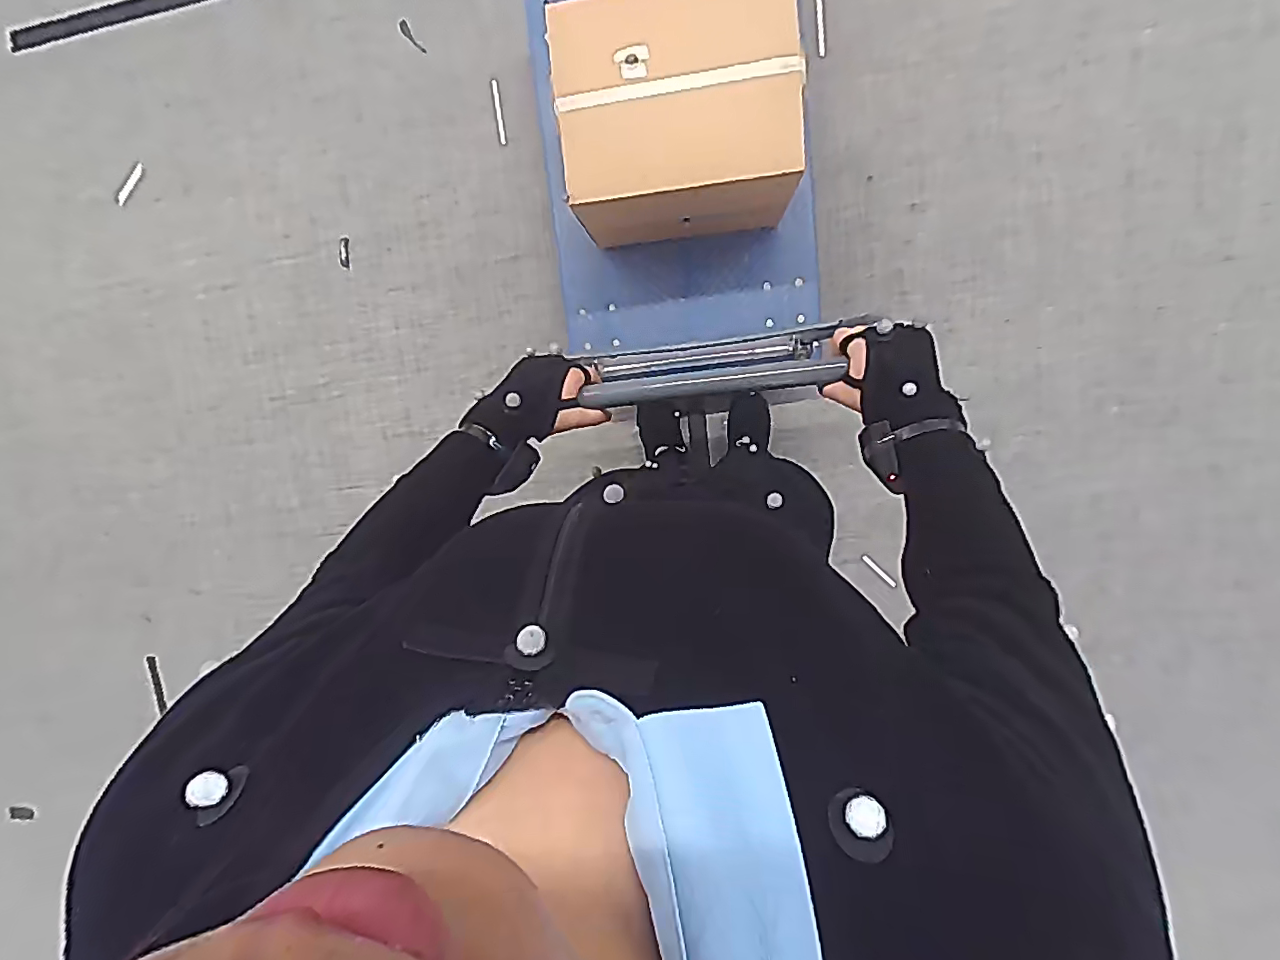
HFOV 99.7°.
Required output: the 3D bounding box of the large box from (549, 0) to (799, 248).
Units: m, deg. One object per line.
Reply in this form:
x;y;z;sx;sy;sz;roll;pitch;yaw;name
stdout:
0.075;-0.675;1.059;0.408;0.320;0.320;-5;98;8;large box
